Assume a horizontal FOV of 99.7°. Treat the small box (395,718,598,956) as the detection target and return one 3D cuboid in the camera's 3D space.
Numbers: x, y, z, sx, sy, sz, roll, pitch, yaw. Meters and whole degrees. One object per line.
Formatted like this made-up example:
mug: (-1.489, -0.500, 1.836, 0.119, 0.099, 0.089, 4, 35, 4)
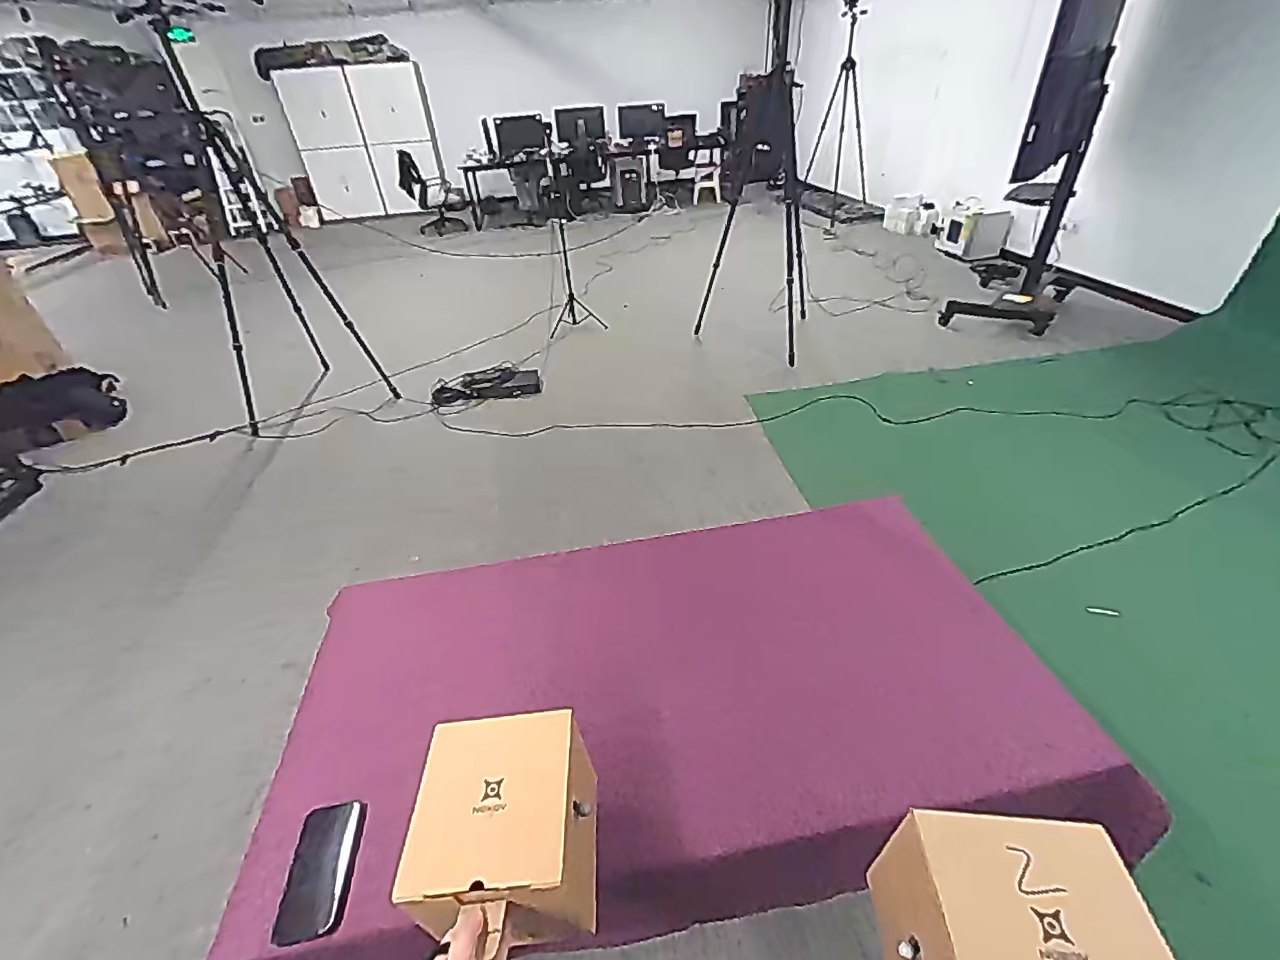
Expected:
small box: (-0.142, 0.400, 0.611, 0.168, 0.176, 0.179, -6, 38, 2)
